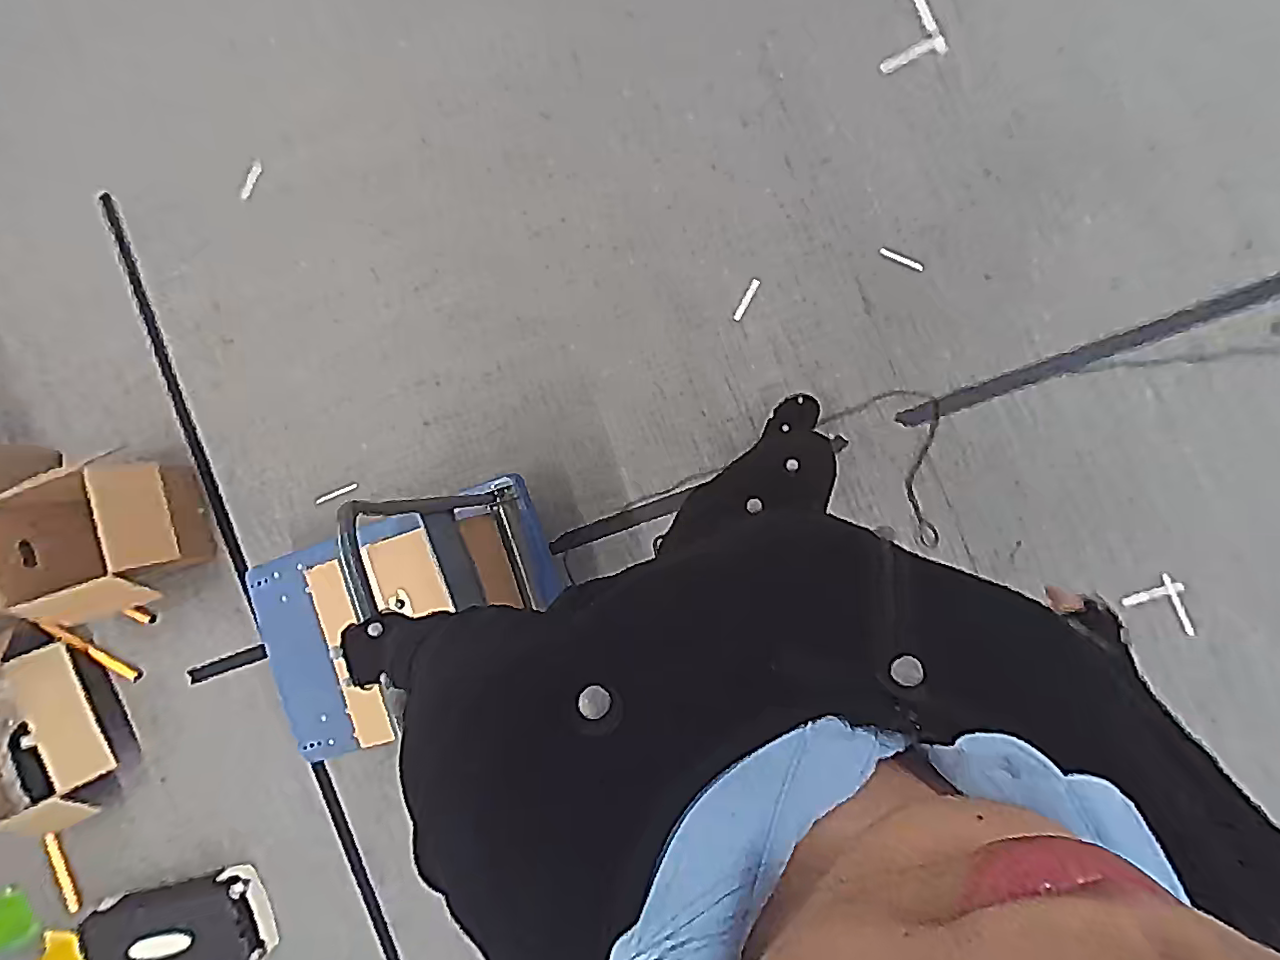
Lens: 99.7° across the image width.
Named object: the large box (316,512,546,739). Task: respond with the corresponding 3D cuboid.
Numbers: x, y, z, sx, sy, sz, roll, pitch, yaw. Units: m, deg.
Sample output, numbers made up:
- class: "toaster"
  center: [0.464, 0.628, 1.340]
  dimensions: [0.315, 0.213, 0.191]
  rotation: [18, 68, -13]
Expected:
- class: "large box"
  center: [-0.473, 0.321, 1.290]
  dimensions: [0.320, 0.320, 0.408]
  rotation: [-20, 88, 9]
